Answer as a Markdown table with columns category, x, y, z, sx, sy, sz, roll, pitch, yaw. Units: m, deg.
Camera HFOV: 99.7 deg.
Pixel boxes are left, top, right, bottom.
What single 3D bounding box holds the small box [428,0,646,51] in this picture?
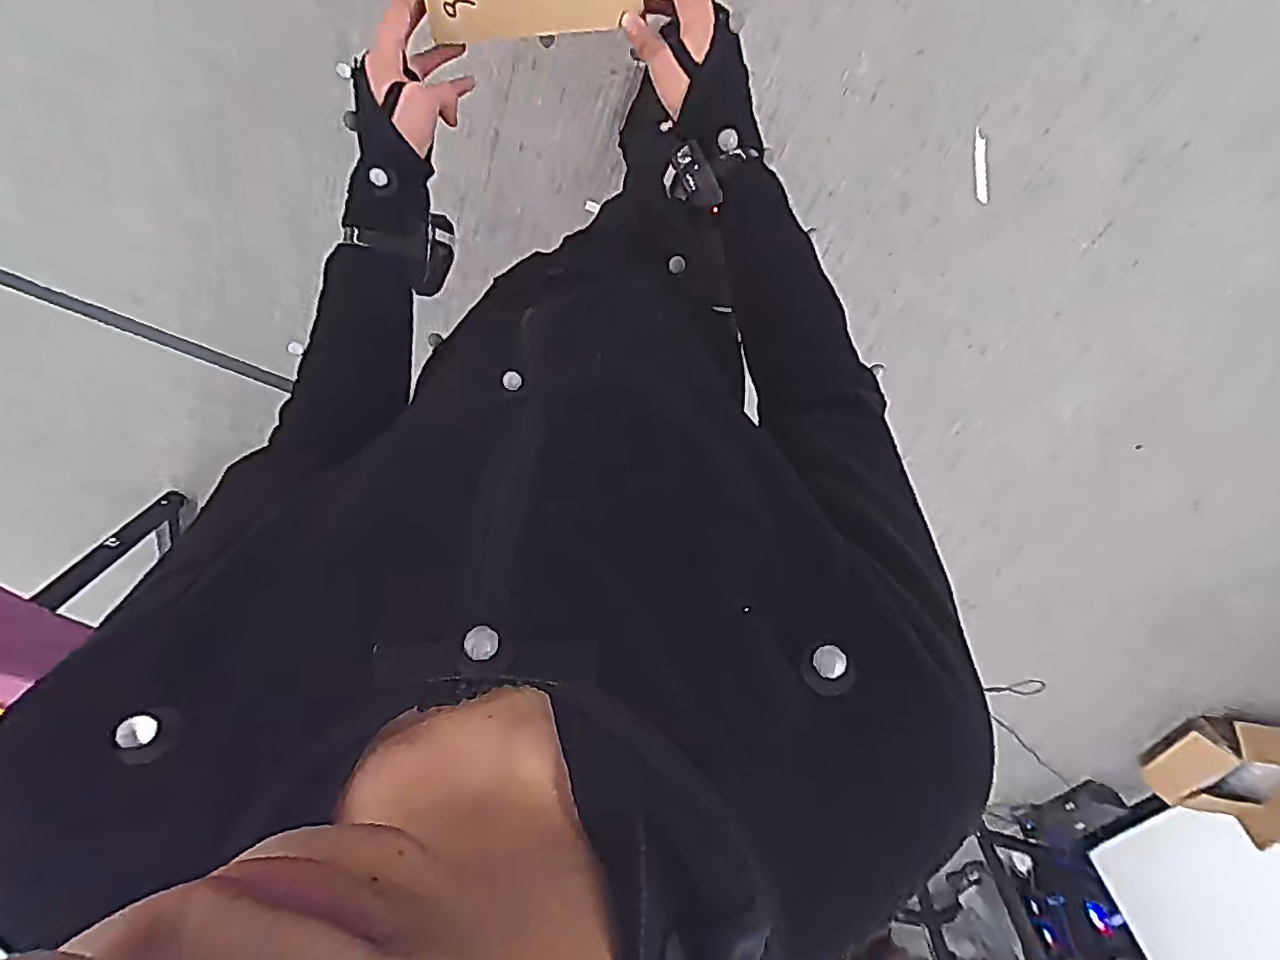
| category | x | y | z | sx | sy | sz | roll | pitch | yaw |
| --- | --- | --- | --- | --- | --- | --- | --- | --- | --- |
| small box | -0.094 | -0.480 | 0.453 | 0.179 | 0.176 | 0.168 | -7 | 134 | -2 |
